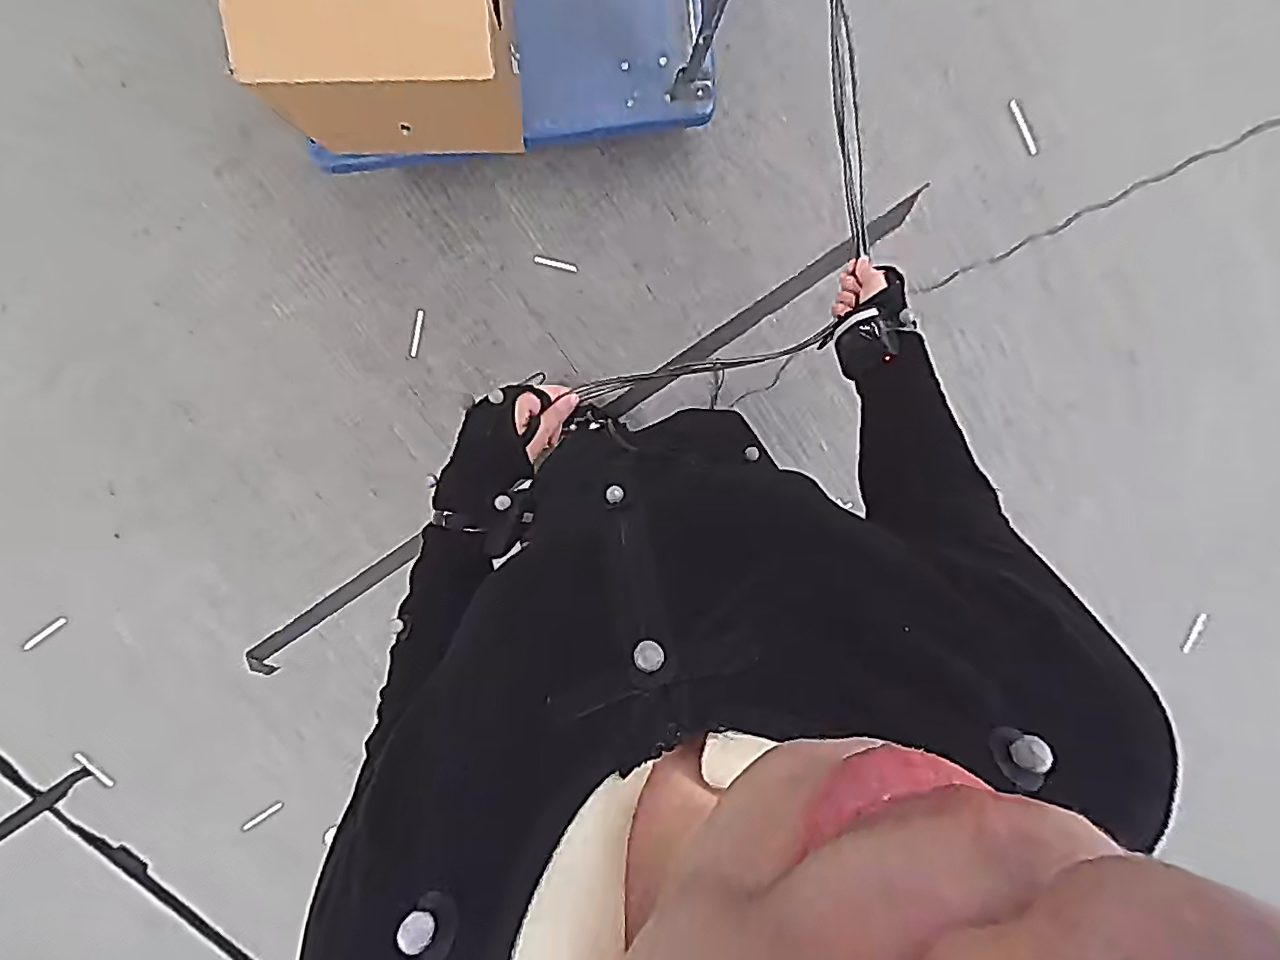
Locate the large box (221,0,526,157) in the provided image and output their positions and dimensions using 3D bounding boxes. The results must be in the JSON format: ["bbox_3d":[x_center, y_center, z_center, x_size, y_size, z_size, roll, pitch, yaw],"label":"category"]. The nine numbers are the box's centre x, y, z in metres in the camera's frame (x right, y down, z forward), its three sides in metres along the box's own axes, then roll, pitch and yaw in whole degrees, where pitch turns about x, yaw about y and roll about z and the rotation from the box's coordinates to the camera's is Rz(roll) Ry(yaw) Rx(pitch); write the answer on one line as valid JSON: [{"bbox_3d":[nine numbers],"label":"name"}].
[{"bbox_3d":[-0.437,-0.797,0.956,0.408,0.320,0.320,-3,102,-2],"label":"large box"}]
